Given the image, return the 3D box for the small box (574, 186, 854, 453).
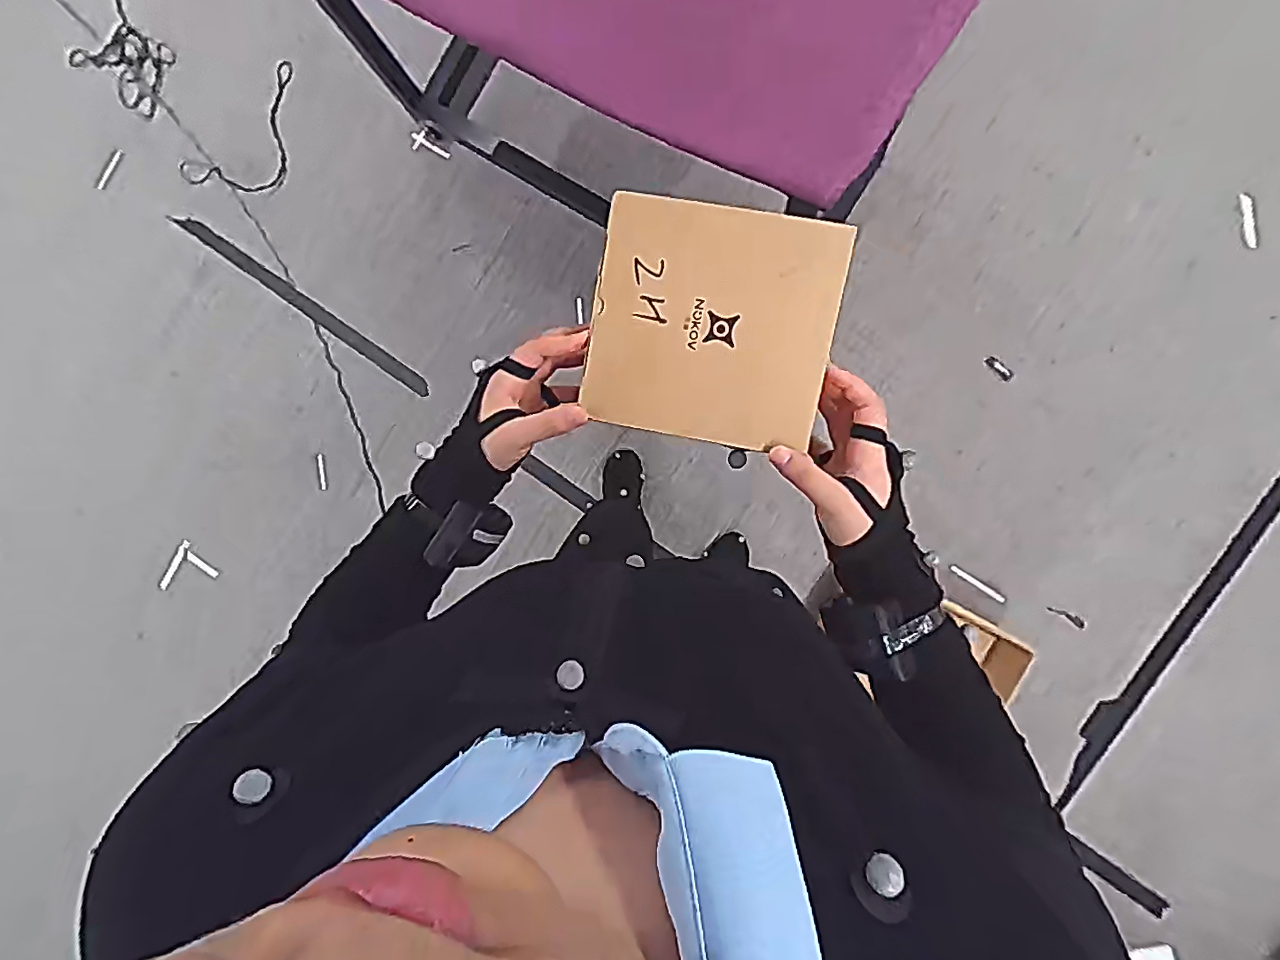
[{"bbox_3d":[0.057,-0.123,0.468,0.179,0.176,0.168,11,96,5],"label":"small box"}]
